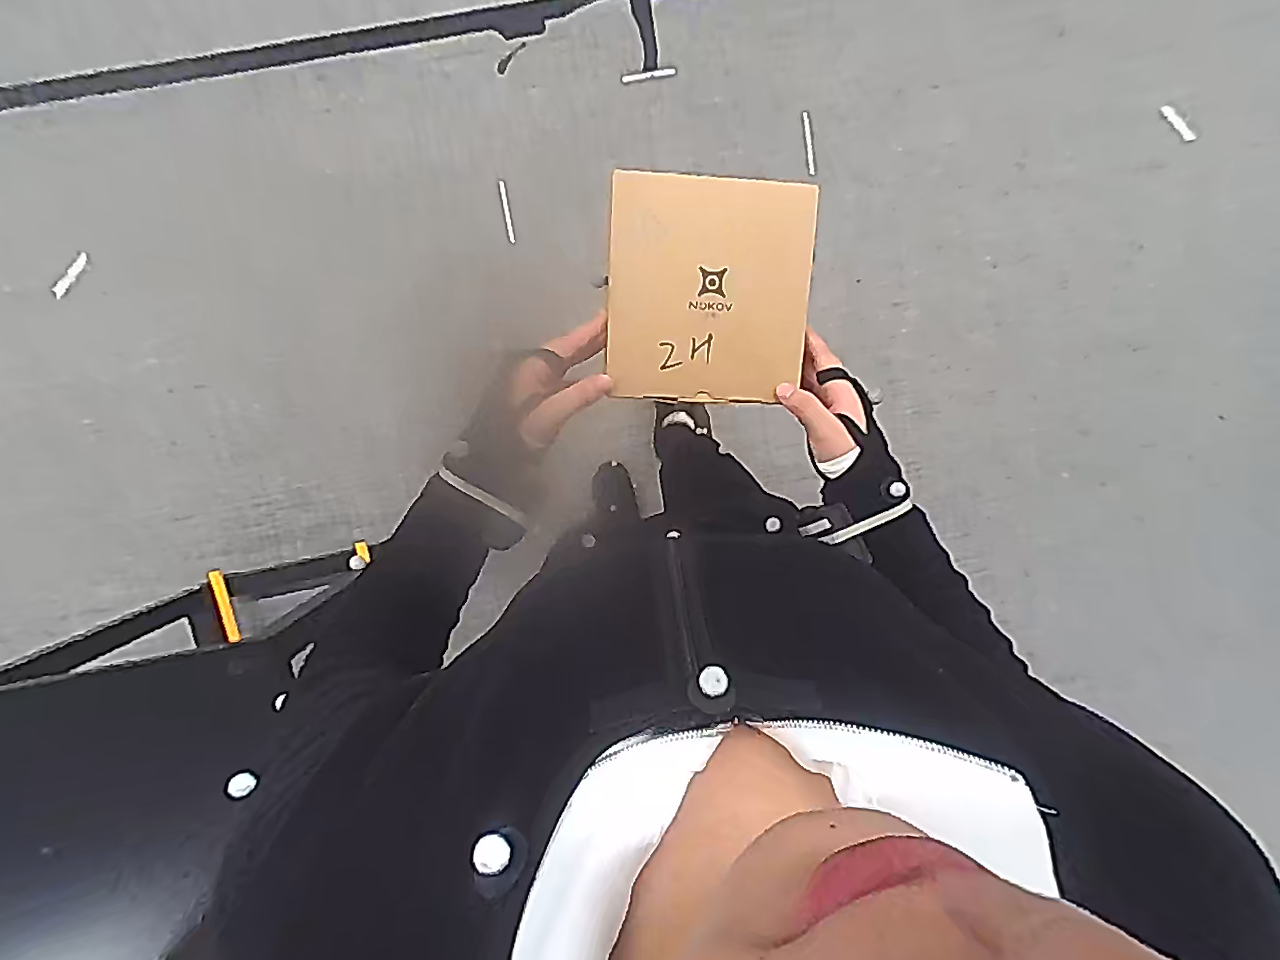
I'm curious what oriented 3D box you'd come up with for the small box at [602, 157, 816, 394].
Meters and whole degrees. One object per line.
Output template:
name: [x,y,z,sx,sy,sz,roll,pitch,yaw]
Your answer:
small box: [0.050,-0.175,0.516,0.168,0.176,0.179,2,101,-5]
